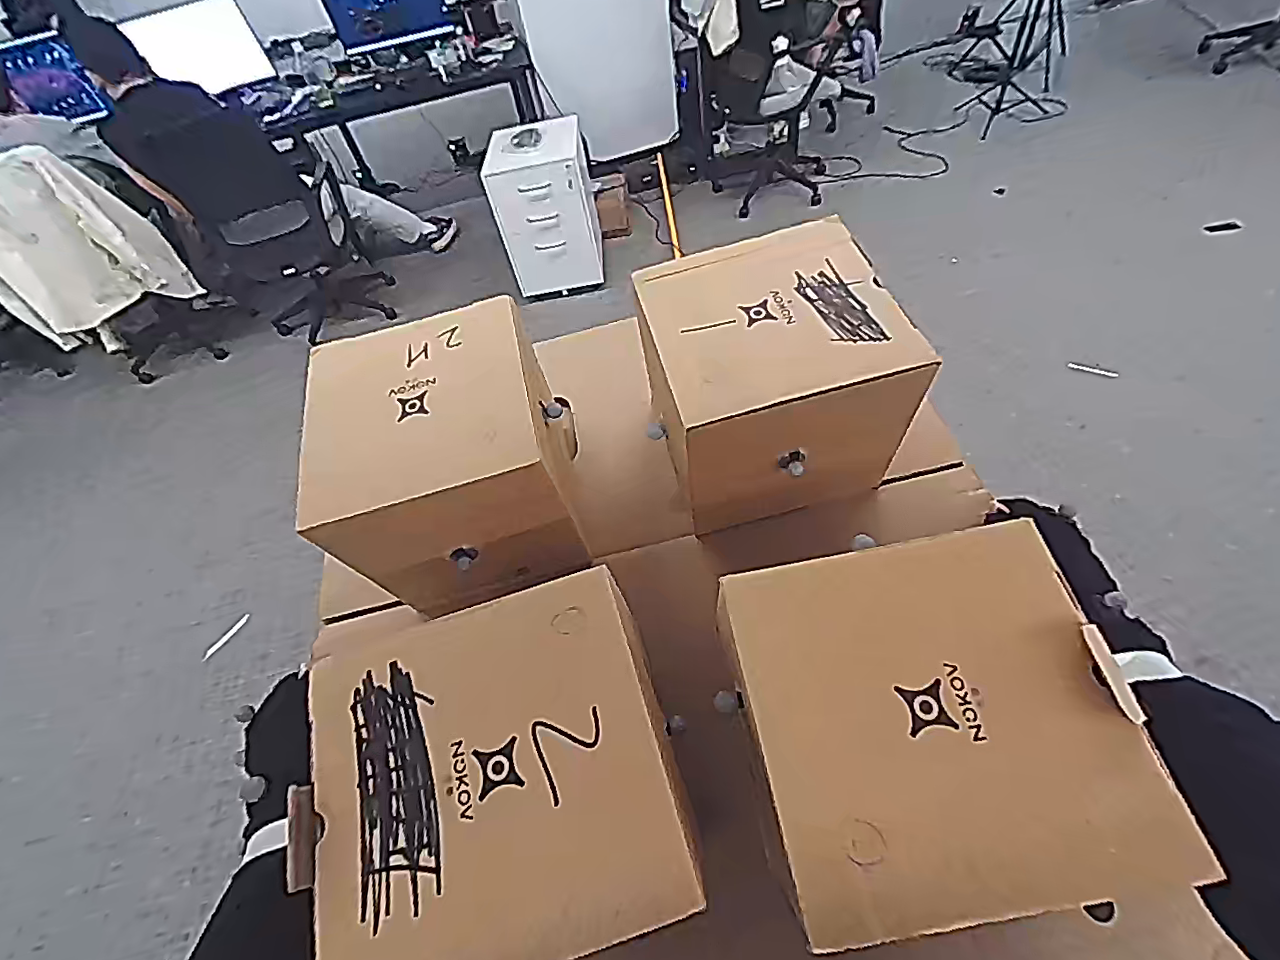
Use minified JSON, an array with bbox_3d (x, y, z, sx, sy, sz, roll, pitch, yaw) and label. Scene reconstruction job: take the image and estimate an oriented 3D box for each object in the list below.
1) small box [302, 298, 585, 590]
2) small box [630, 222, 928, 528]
[{"bbox_3d":[-0.154,-0.018,0.468,0.168,0.176,0.179,-15,58,-1],"label":"small box"},{"bbox_3d":[0.101,-0.080,0.464,0.179,0.176,0.168,-15,59,1],"label":"small box"}]
